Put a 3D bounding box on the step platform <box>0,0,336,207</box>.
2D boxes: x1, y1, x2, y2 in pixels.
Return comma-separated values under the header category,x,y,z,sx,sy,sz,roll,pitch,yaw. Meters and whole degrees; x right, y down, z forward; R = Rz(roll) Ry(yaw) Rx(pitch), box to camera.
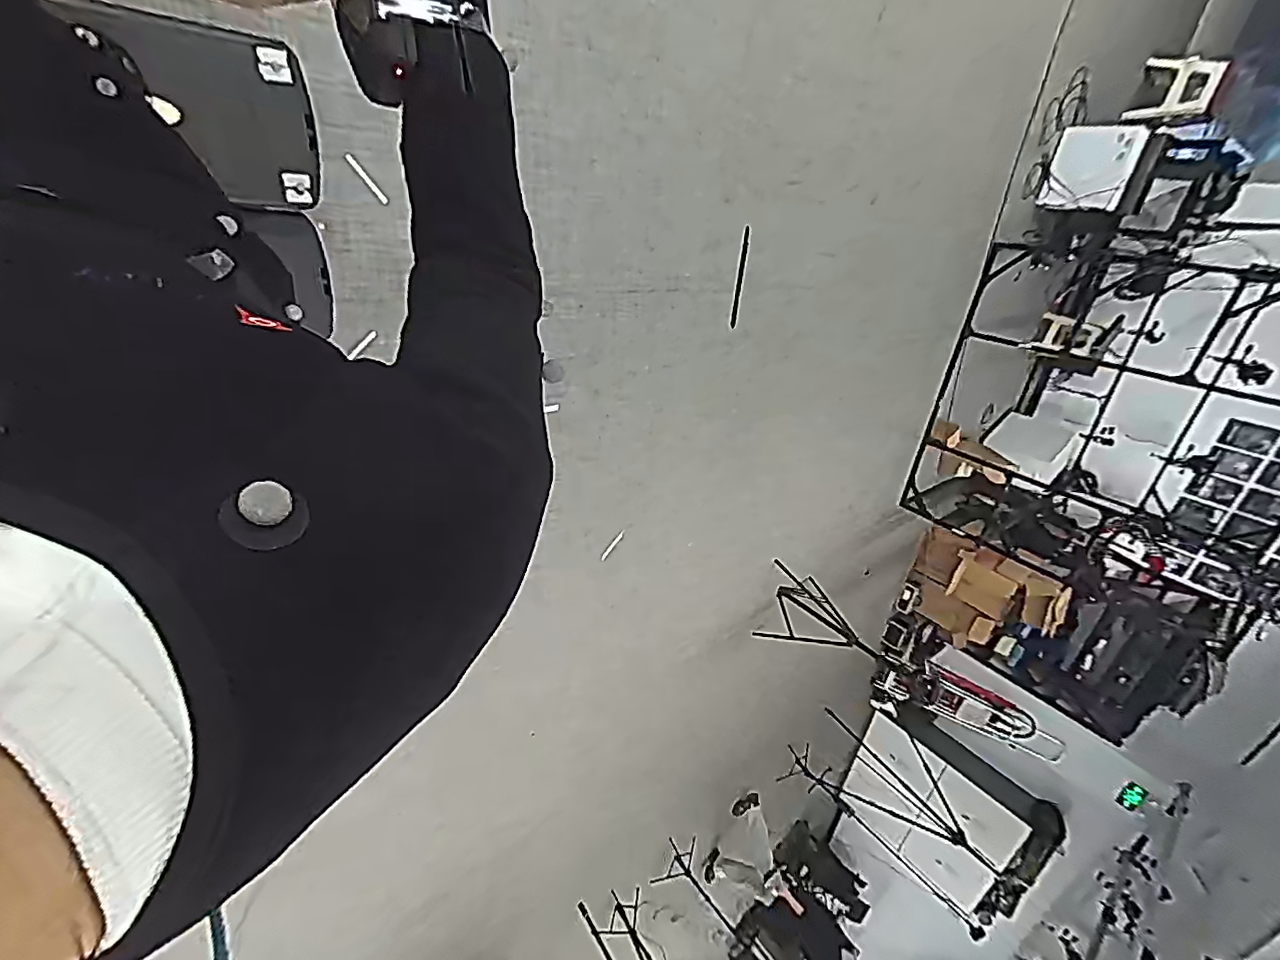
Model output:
category,x,y,z,sx,sy,sz,roll,pitch,yaw
step platform,-0.916,-0.648,0.929,0.684,0.204,0.286,-17,126,-37
